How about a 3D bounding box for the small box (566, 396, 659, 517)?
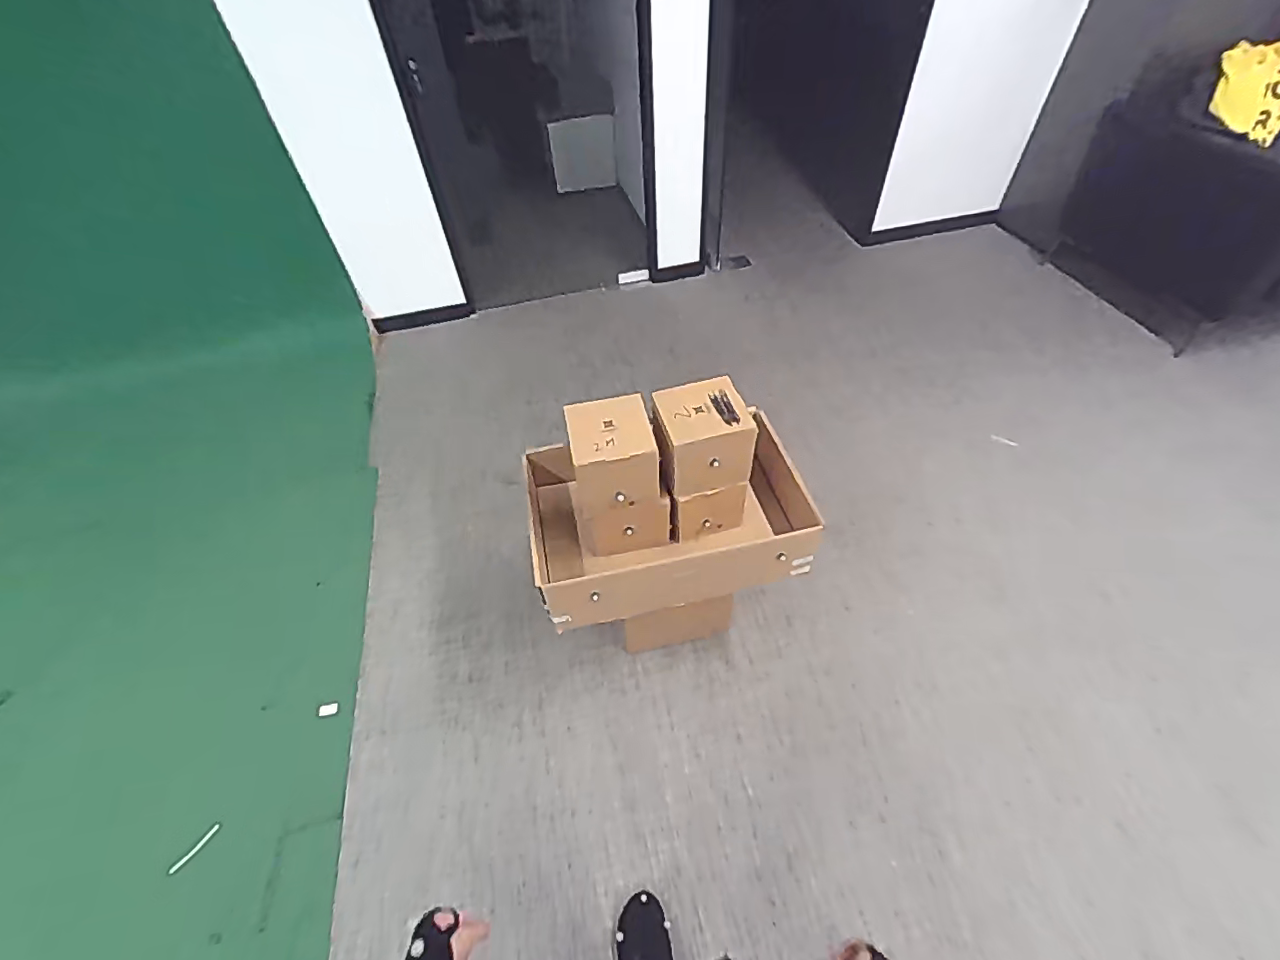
[{"bbox_3d":[-0.058,-0.048,1.139,0.168,0.176,0.179,-10,49,-6],"label":"small box"}]
